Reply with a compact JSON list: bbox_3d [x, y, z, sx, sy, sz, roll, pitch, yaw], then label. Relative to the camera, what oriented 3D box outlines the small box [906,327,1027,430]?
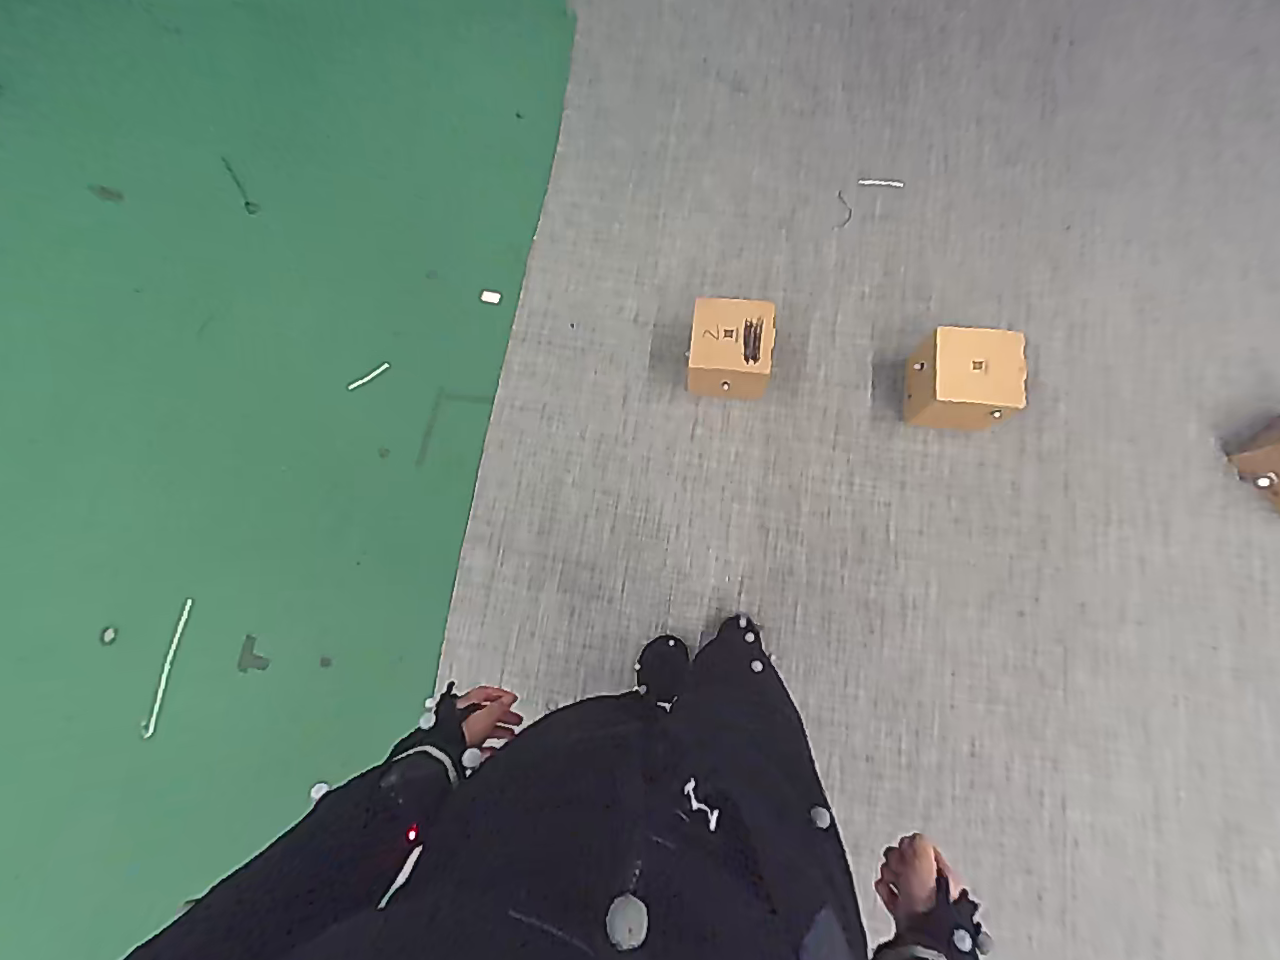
[{"bbox_3d":[0.695,-0.213,1.169,0.179,0.176,0.168,5,79,5],"label":"small box"}]

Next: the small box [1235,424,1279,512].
[{"bbox_3d":[1.386,-0.045,1.080,0.179,0.176,0.168,-35,77,-2],"label":"small box"}]
